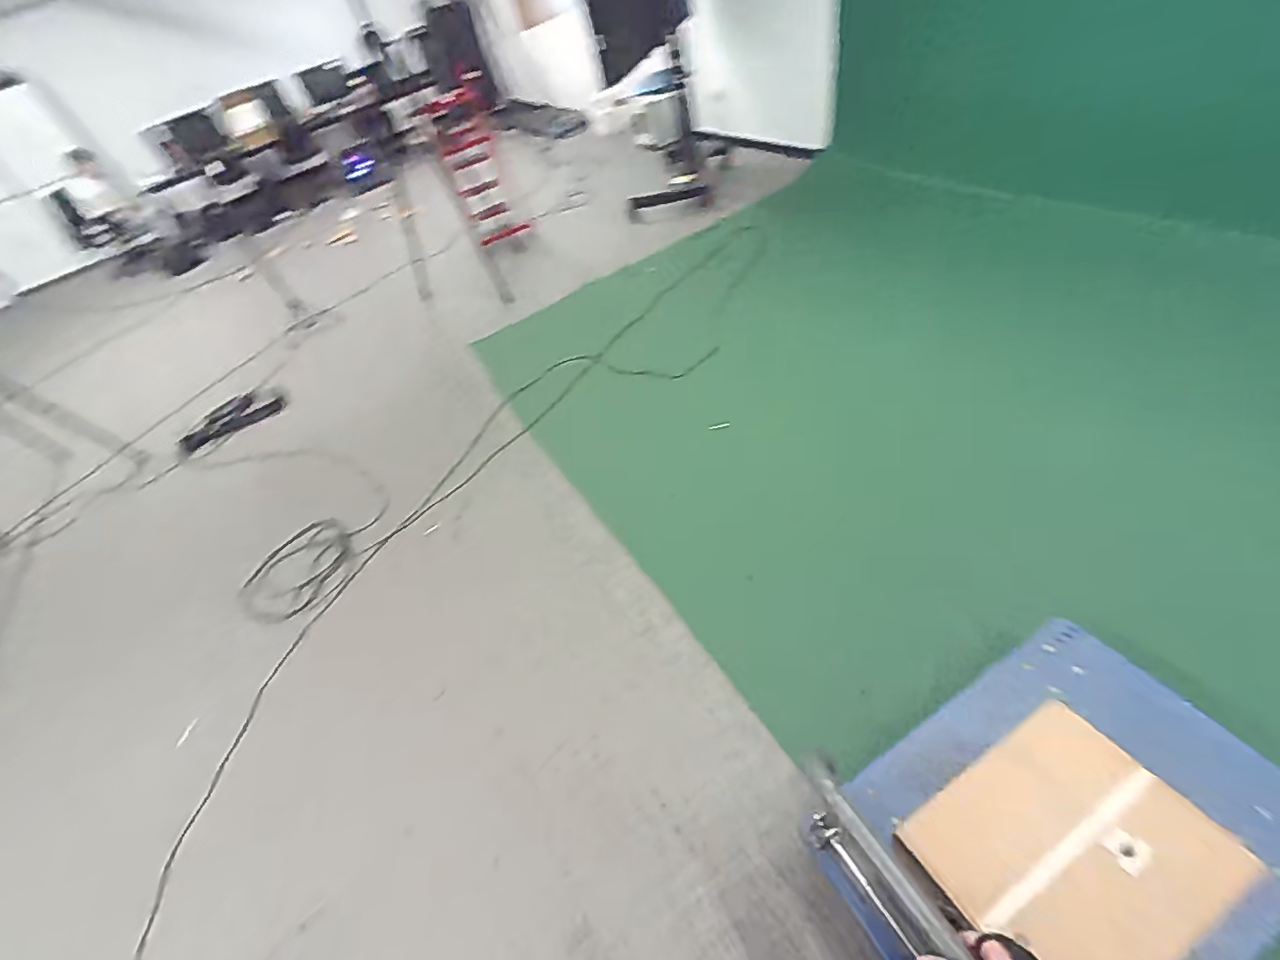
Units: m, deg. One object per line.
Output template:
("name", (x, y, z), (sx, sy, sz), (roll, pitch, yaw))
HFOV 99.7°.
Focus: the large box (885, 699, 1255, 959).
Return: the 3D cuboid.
("large box", (0.712, 0.690, 0.967), (0.408, 0.320, 0.320), (-30, 46, -12))
